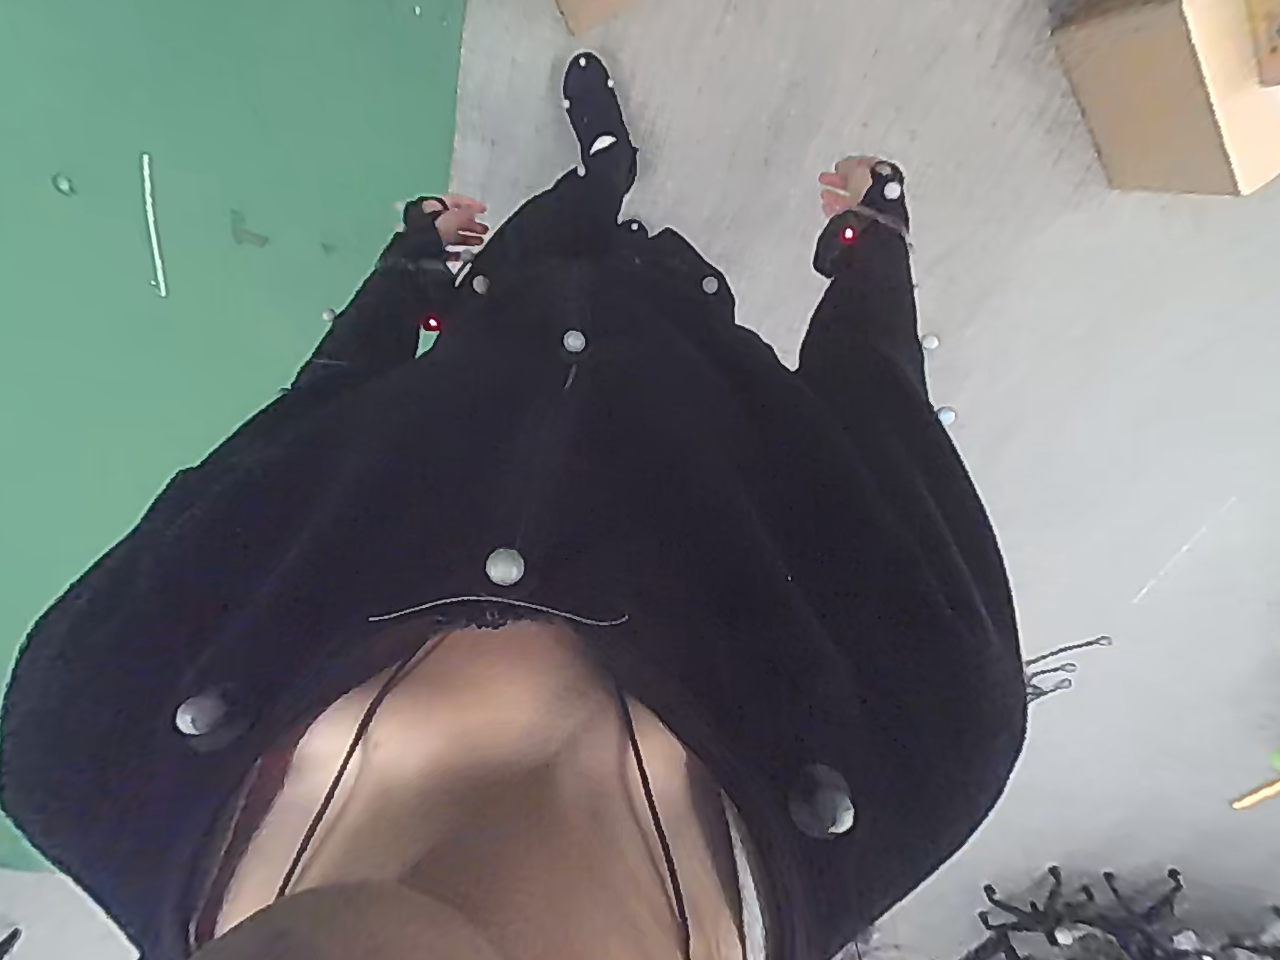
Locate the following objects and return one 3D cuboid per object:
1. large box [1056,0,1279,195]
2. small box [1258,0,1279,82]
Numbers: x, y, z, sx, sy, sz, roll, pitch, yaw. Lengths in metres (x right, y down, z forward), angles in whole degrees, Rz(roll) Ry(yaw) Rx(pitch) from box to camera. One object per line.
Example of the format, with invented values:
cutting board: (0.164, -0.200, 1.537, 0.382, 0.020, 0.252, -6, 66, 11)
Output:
large box: (1.106, -0.822, 1.020, 0.320, 0.320, 0.408, -40, 115, 20)
small box: (1.090, -0.730, 0.790, 0.179, 0.176, 0.168, -36, 116, 17)
